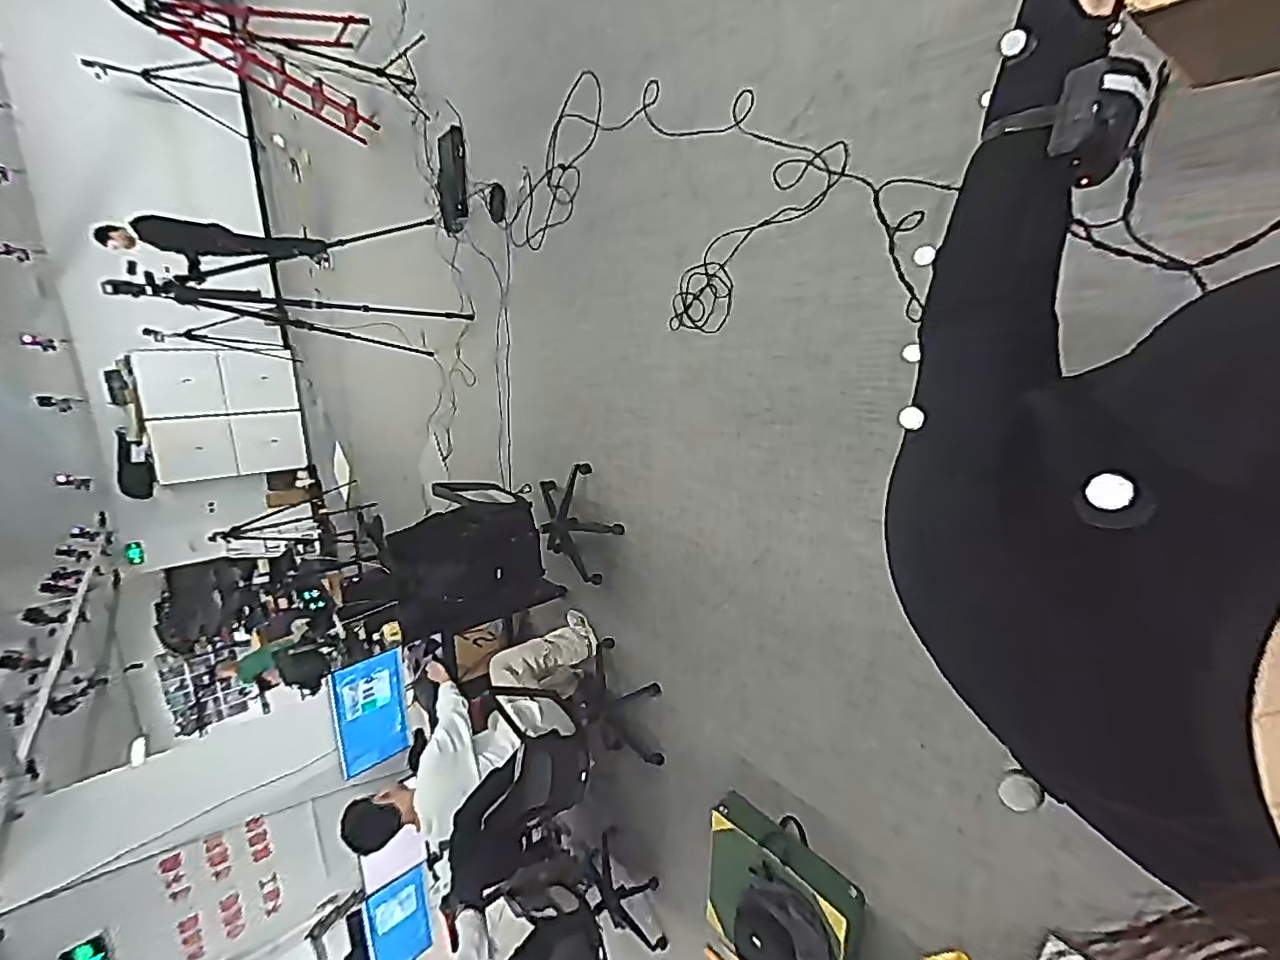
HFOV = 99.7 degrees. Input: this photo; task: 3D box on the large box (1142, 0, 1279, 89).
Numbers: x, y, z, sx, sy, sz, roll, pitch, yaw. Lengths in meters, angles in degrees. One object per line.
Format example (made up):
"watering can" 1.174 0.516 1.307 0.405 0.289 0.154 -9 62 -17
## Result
"large box" 0.570 -0.467 0.273 0.408 0.320 0.320 16 118 46
